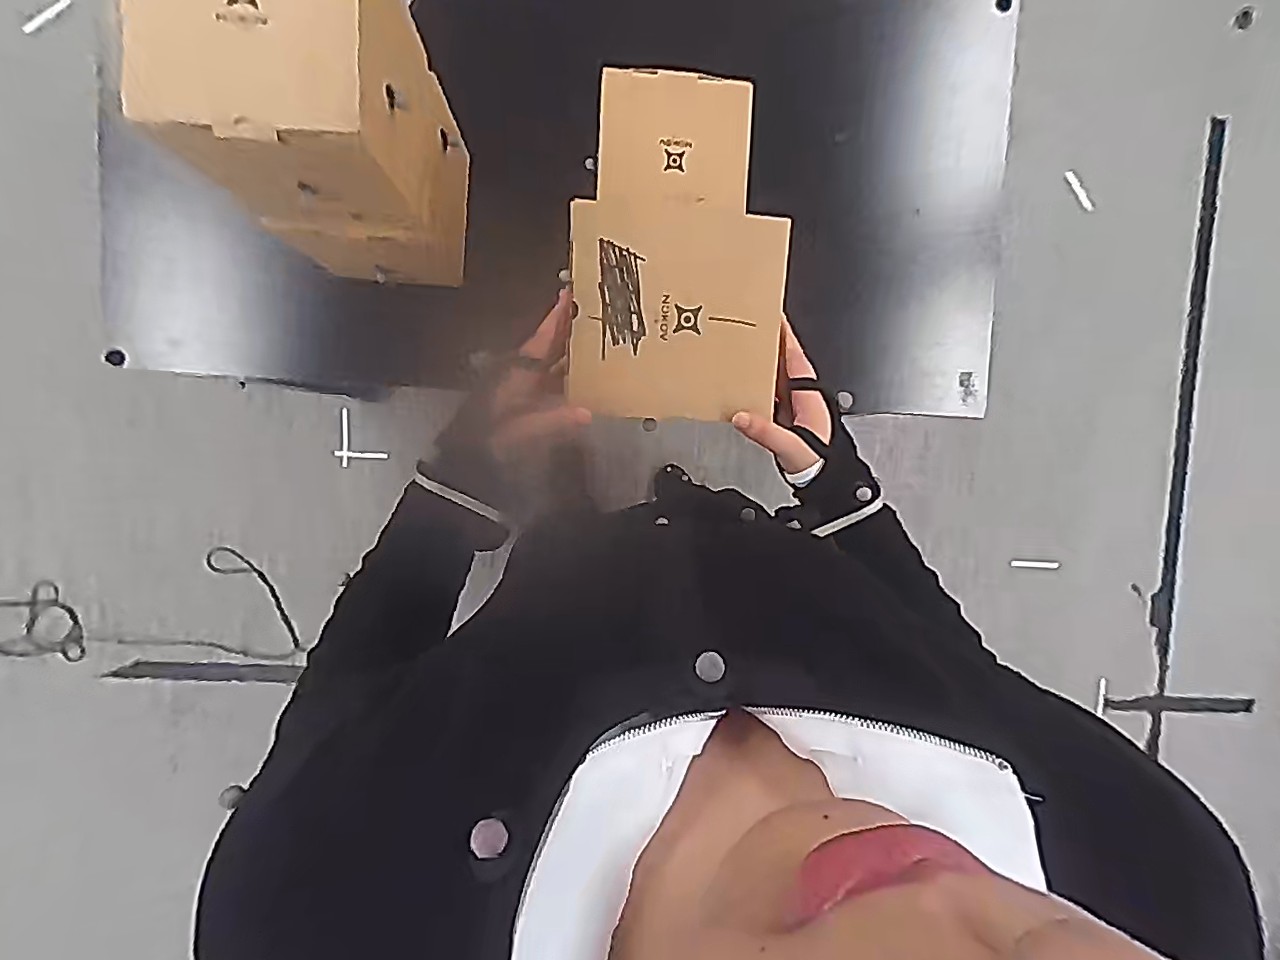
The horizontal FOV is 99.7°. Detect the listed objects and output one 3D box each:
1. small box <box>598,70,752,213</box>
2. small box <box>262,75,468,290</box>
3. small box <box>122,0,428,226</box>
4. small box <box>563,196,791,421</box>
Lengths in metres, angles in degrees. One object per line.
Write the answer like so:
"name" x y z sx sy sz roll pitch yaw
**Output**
"small box" 0.032 -0.352 0.666 0.168 0.176 0.179 2 94 -4
"small box" -0.304 -0.342 0.633 0.168 0.176 0.179 4 93 -5
"small box" -0.291 -0.341 0.469 0.168 0.176 0.179 1 94 -6
"small box" 0.021 -0.147 0.513 0.179 0.176 0.168 3 100 -7
